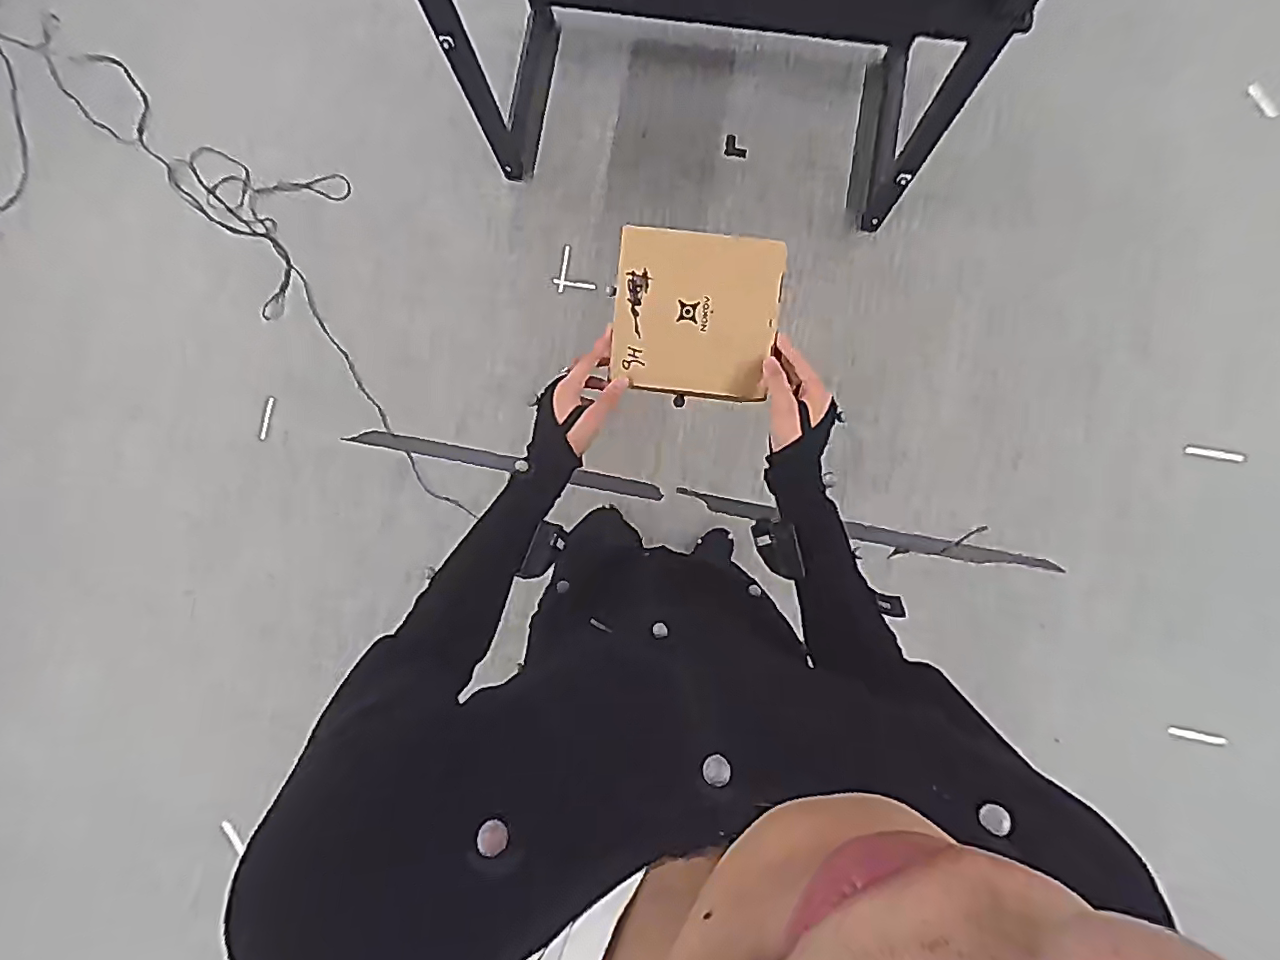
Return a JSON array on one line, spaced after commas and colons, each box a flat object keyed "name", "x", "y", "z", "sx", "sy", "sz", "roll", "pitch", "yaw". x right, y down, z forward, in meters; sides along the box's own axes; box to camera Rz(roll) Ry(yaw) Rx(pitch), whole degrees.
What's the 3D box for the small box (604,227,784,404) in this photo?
[{"name": "small box", "x": 0.056, "y": -0.185, "z": 0.654, "sx": 0.179, "sy": 0.176, "sz": 0.168, "roll": 7, "pitch": 97, "yaw": 0}]
